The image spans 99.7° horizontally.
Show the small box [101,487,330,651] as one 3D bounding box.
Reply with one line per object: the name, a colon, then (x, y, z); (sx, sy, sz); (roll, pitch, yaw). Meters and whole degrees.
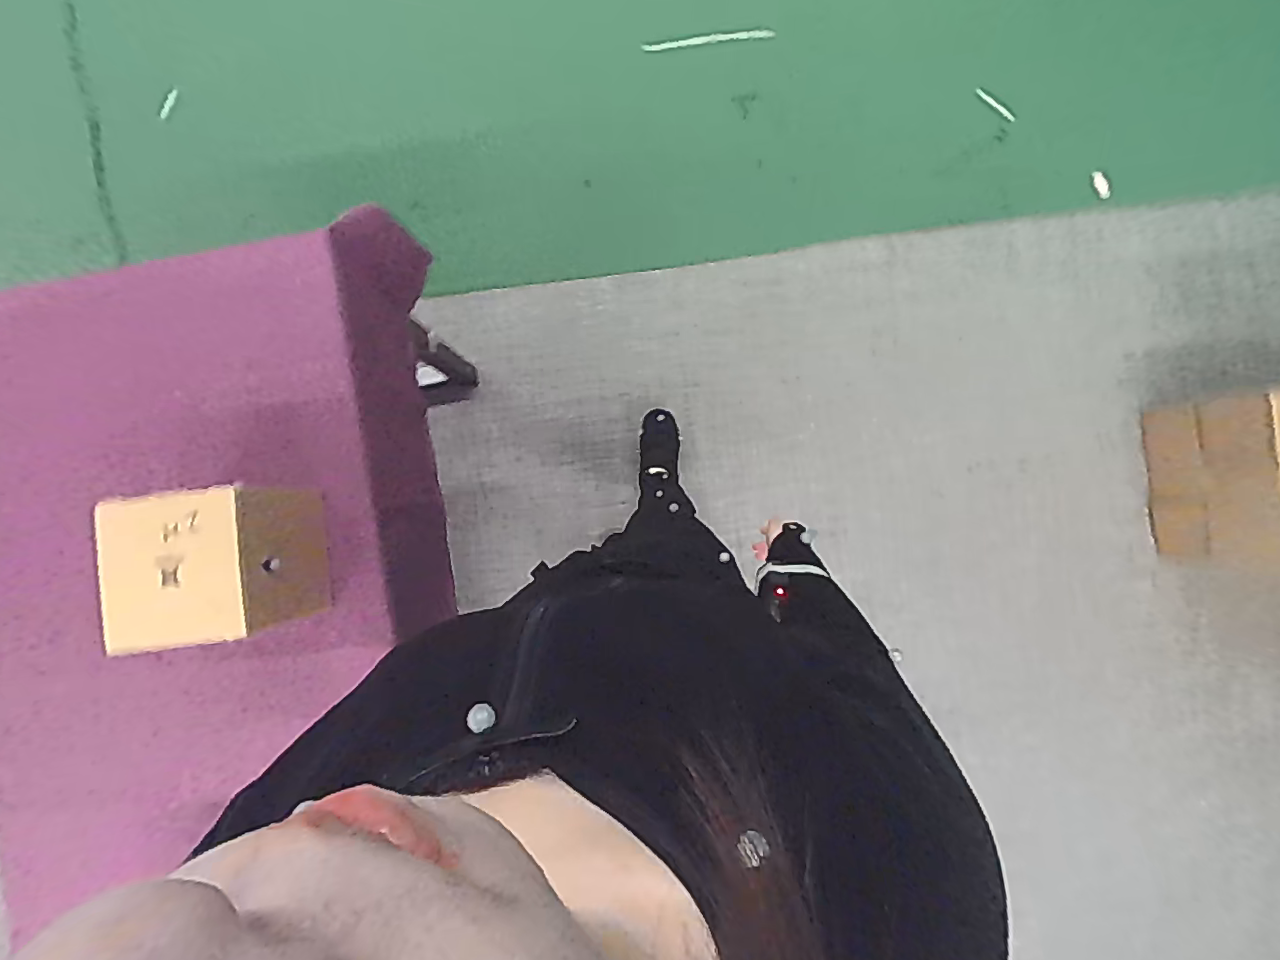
small box: (-0.530, 0.104, 0.699); (0.168, 0.176, 0.179); (-7, 87, 1)
